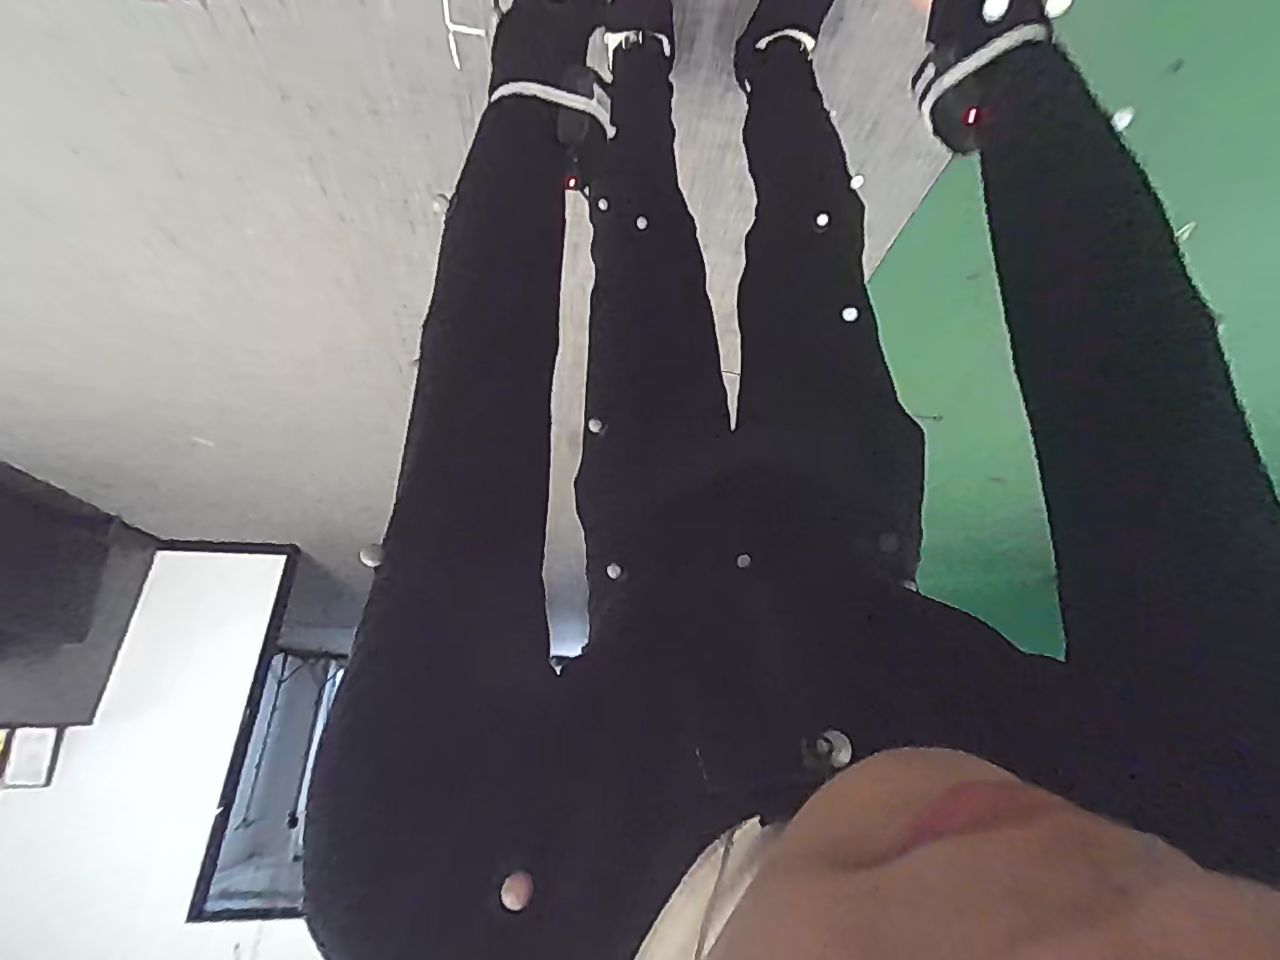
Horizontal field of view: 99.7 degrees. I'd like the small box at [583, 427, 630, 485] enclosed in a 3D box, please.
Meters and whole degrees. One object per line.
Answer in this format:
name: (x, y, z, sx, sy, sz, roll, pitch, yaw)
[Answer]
small box: (-0.137, -0.097, 2.179, 0.168, 0.176, 0.179, 6, 155, -12)
